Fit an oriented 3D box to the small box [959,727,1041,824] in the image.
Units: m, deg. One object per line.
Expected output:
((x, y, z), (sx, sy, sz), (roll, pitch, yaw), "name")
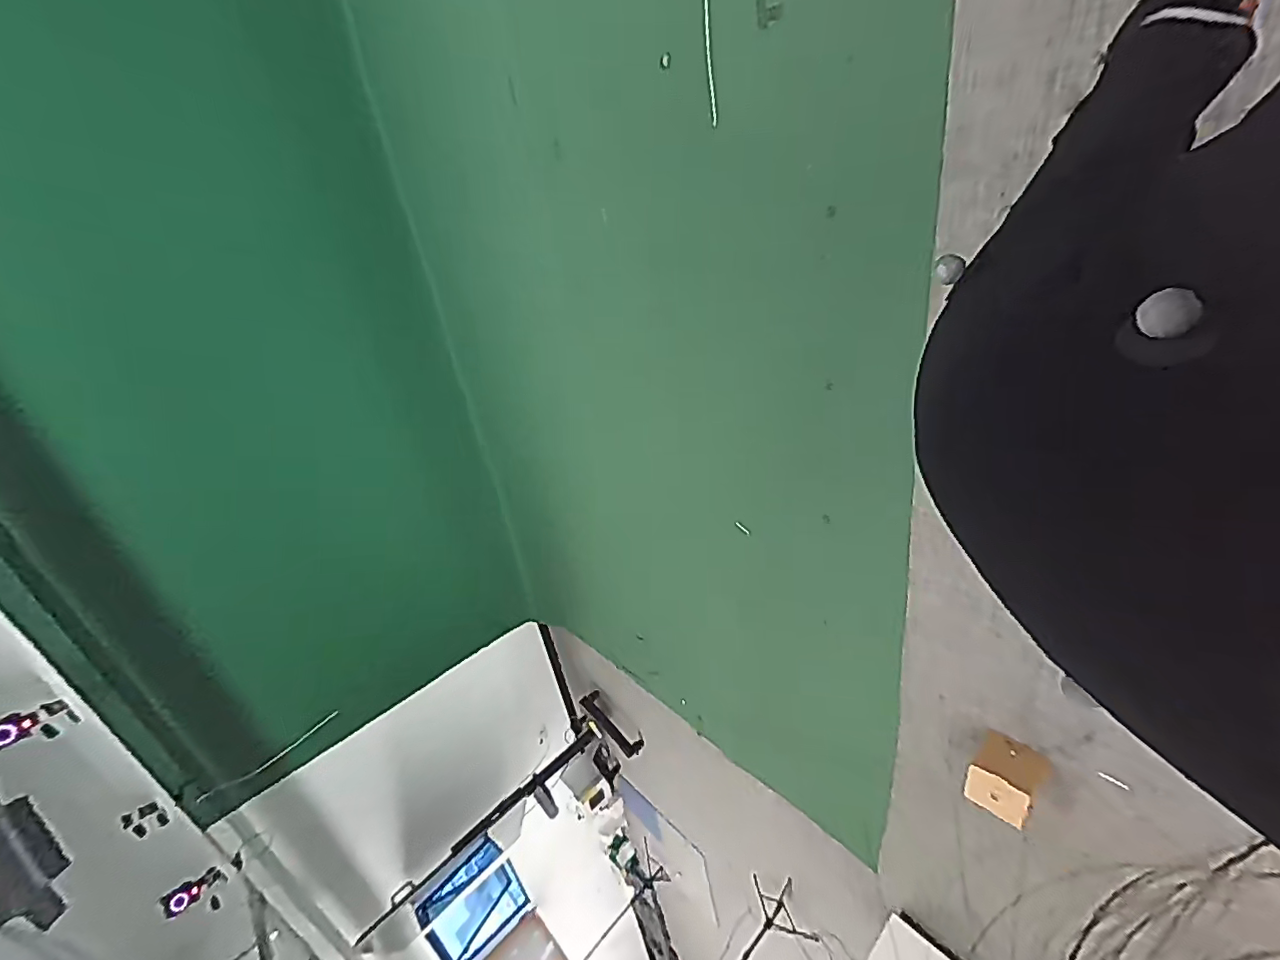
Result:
((1.161, 0.948, 1.744), (0.168, 0.176, 0.179), (22, 130, 44), "small box")
